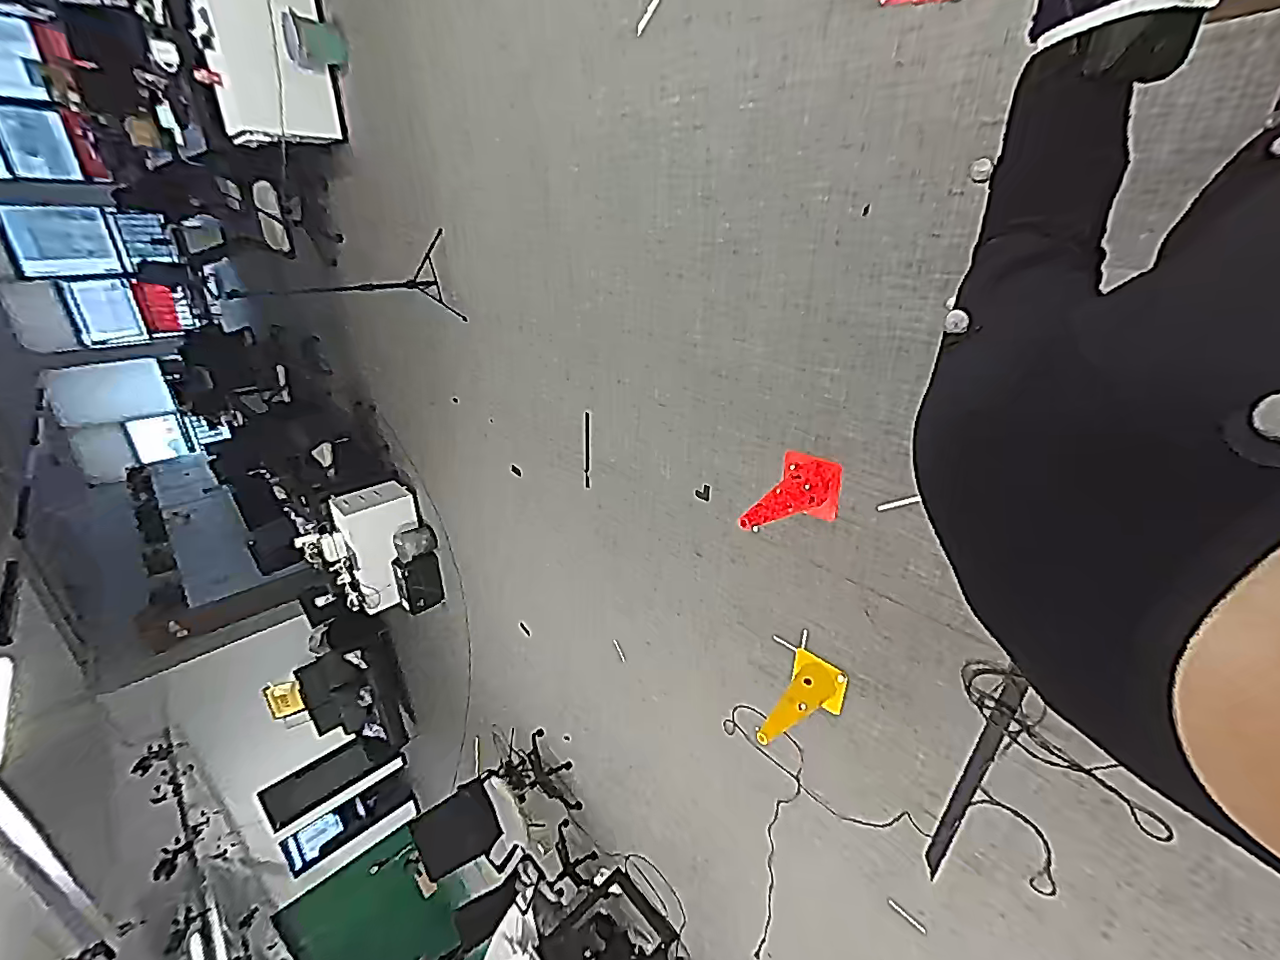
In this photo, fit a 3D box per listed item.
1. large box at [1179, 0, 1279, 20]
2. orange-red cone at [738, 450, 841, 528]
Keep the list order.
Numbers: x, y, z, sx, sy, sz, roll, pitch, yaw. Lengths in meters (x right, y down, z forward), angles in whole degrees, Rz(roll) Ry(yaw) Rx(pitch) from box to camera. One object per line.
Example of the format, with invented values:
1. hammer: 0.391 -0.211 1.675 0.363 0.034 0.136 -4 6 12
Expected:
1. large box: 0.543 -0.468 0.231 0.408 0.320 0.320 19 128 42
2. orange-red cone: 0.421 0.068 1.634 0.198 0.360 0.199 24 126 42
